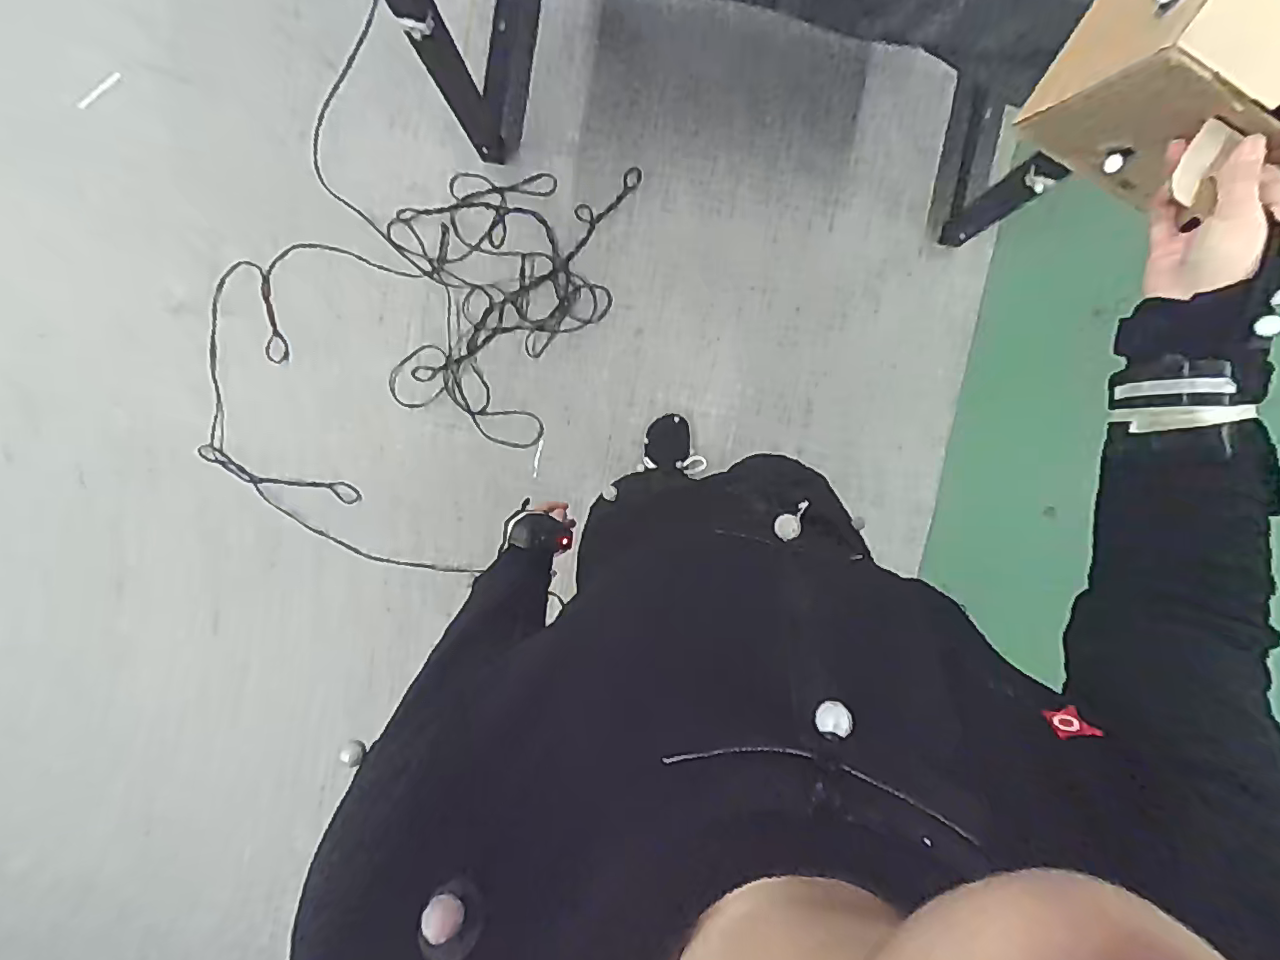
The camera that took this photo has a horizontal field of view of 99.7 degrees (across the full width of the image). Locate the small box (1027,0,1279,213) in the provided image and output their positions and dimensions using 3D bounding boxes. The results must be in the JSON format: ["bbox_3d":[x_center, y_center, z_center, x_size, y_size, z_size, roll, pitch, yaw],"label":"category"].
[{"bbox_3d":[0.422,-0.311,0.366,0.168,0.176,0.179,28,110,-4],"label":"small box"}]
